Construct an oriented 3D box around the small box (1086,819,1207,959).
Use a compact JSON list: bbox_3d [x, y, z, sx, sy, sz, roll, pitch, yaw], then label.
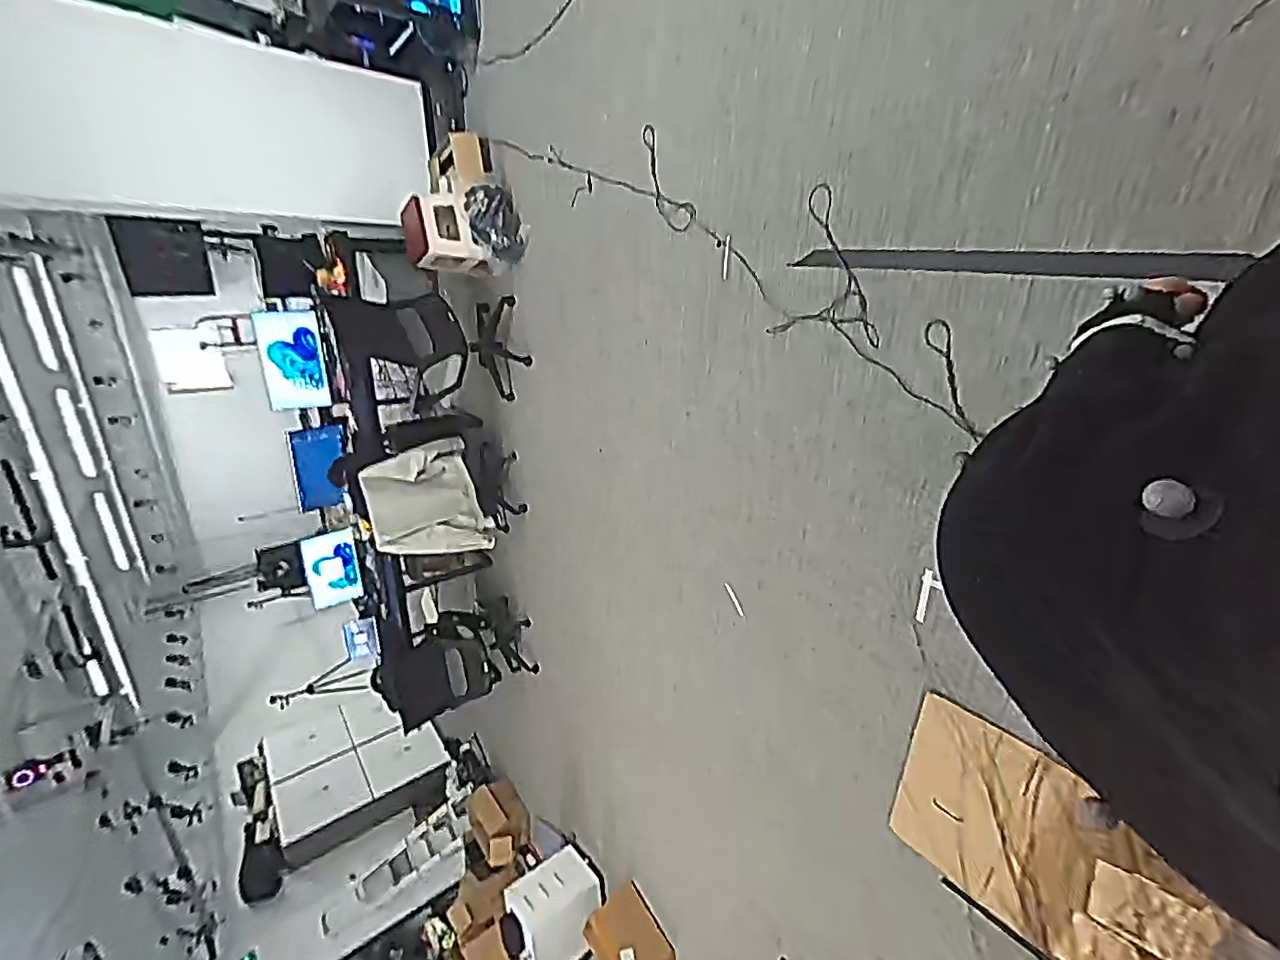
[{"bbox_3d":[1.144,0.921,1.221,0.168,0.176,0.179,13,112,49],"label":"small box"}]
